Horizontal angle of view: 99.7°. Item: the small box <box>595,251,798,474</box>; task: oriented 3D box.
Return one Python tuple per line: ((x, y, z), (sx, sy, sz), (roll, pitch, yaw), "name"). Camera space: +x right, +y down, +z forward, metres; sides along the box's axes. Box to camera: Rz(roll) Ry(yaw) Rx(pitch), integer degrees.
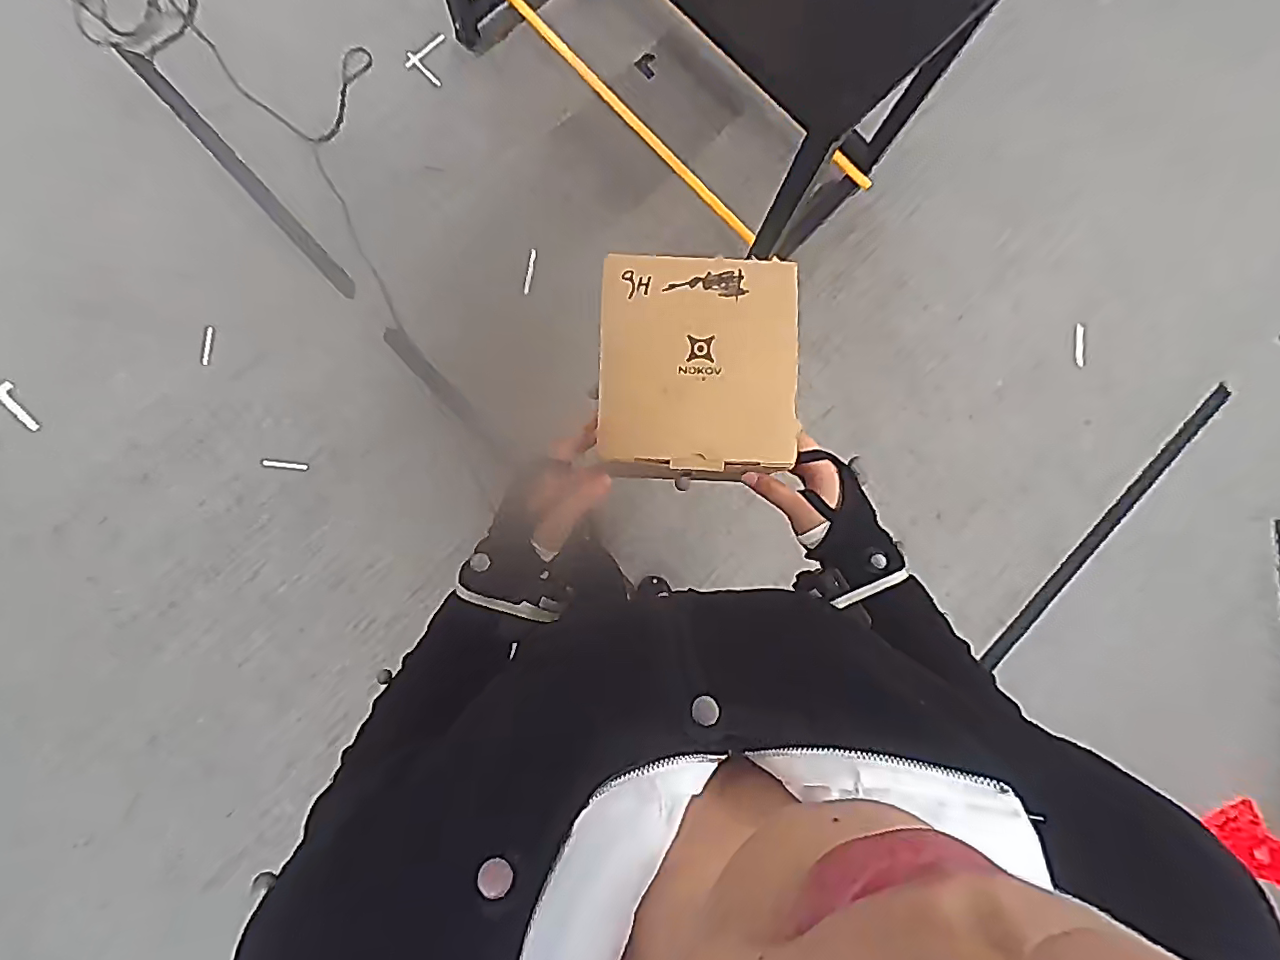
((0.045, -0.097, 0.524), (0.168, 0.176, 0.179), (1, 87, -2), "small box")
